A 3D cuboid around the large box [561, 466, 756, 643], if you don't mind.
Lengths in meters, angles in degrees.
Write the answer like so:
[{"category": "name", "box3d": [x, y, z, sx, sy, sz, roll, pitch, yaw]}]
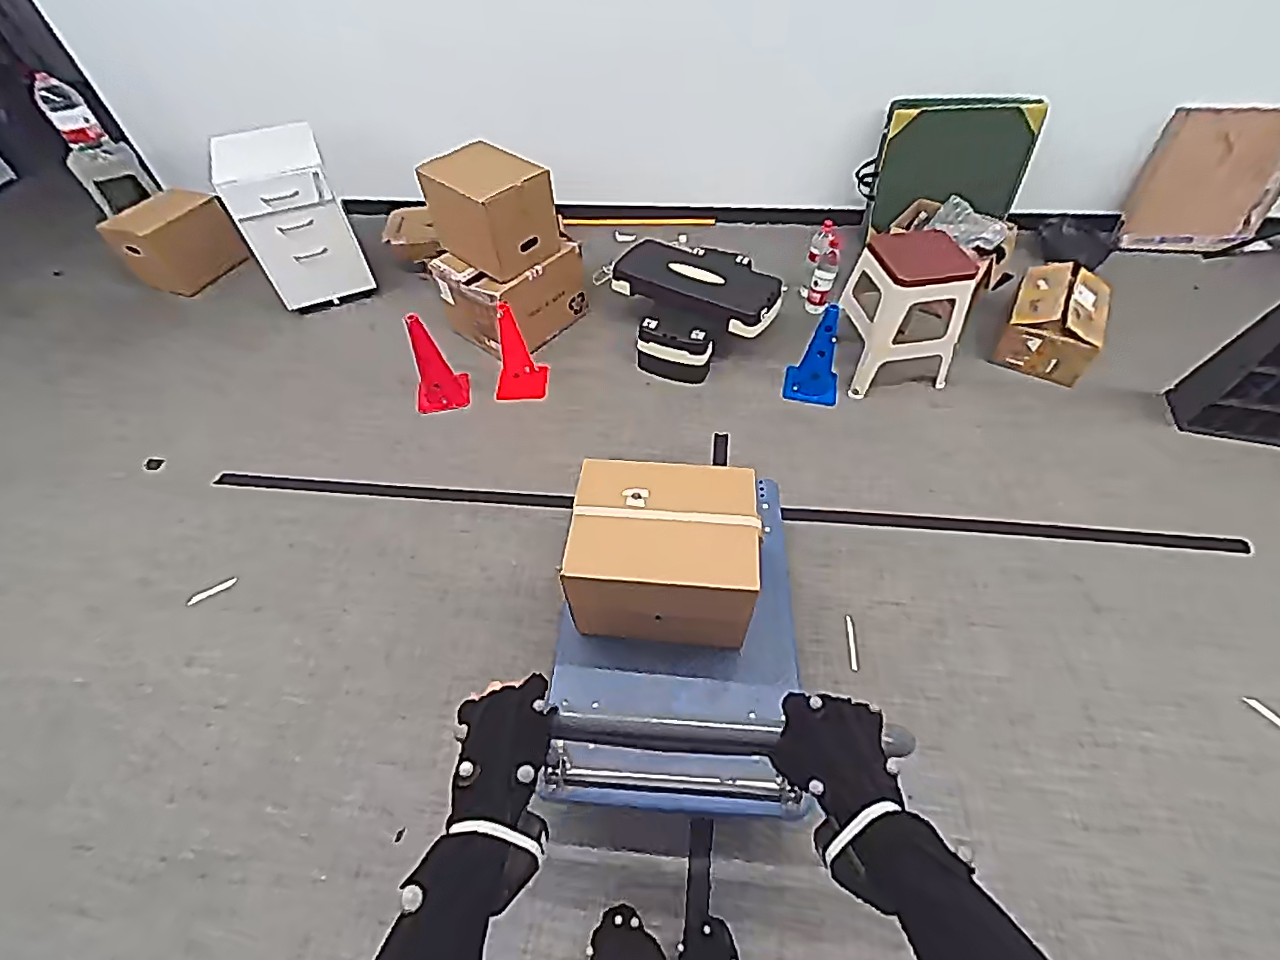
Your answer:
[{"category": "large box", "box3d": [0.055, 0.185, 1.305, 0.408, 0.320, 0.320, 3, 52, 6]}]
